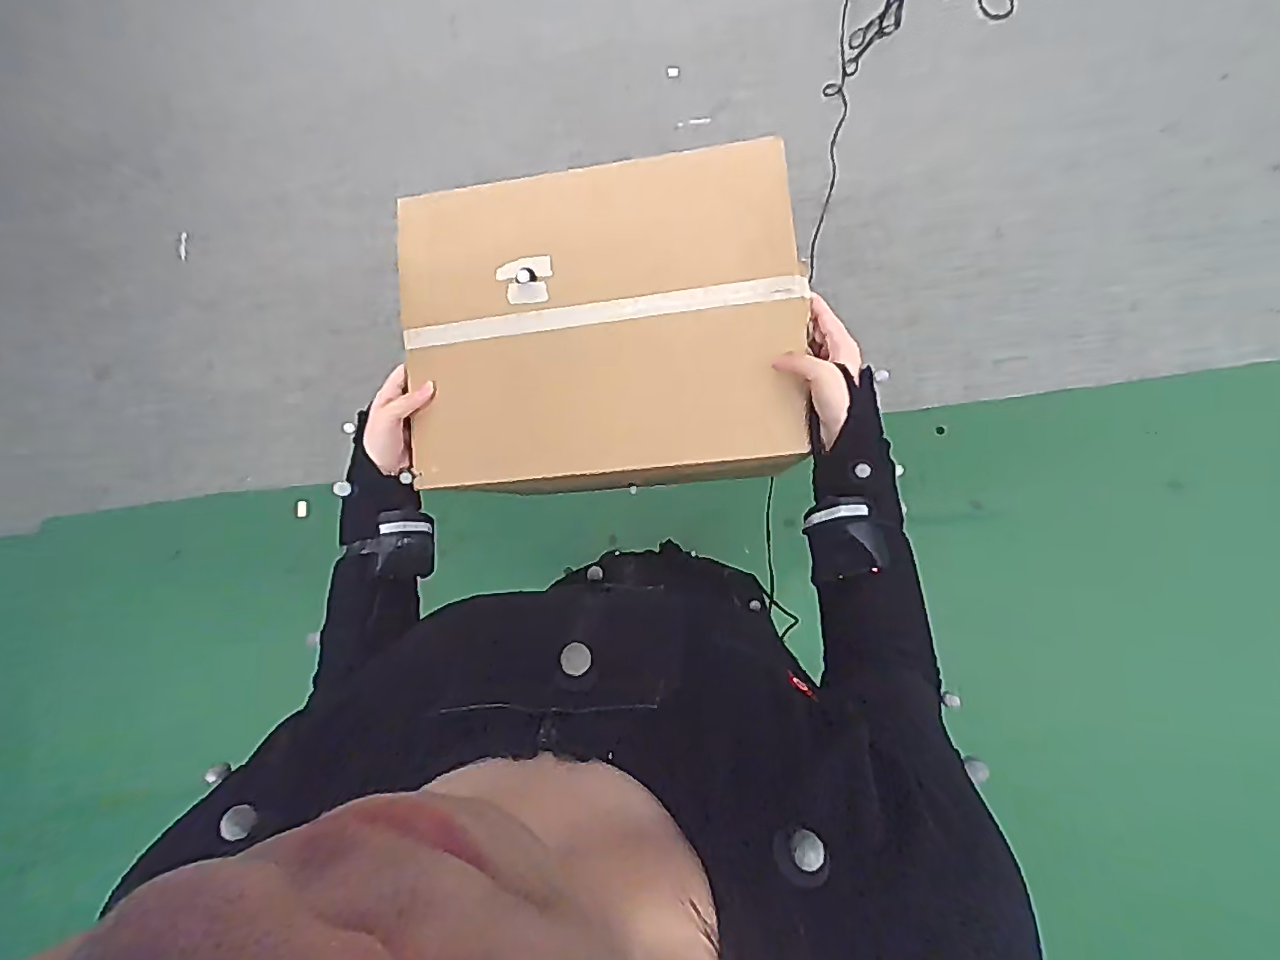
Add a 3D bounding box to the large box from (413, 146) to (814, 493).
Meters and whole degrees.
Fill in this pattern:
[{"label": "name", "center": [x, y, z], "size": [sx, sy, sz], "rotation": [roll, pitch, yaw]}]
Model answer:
[{"label": "large box", "center": [-0.017, -0.155, 0.702], "size": [0.408, 0.320, 0.320], "rotation": [-5, 86, 9]}]
